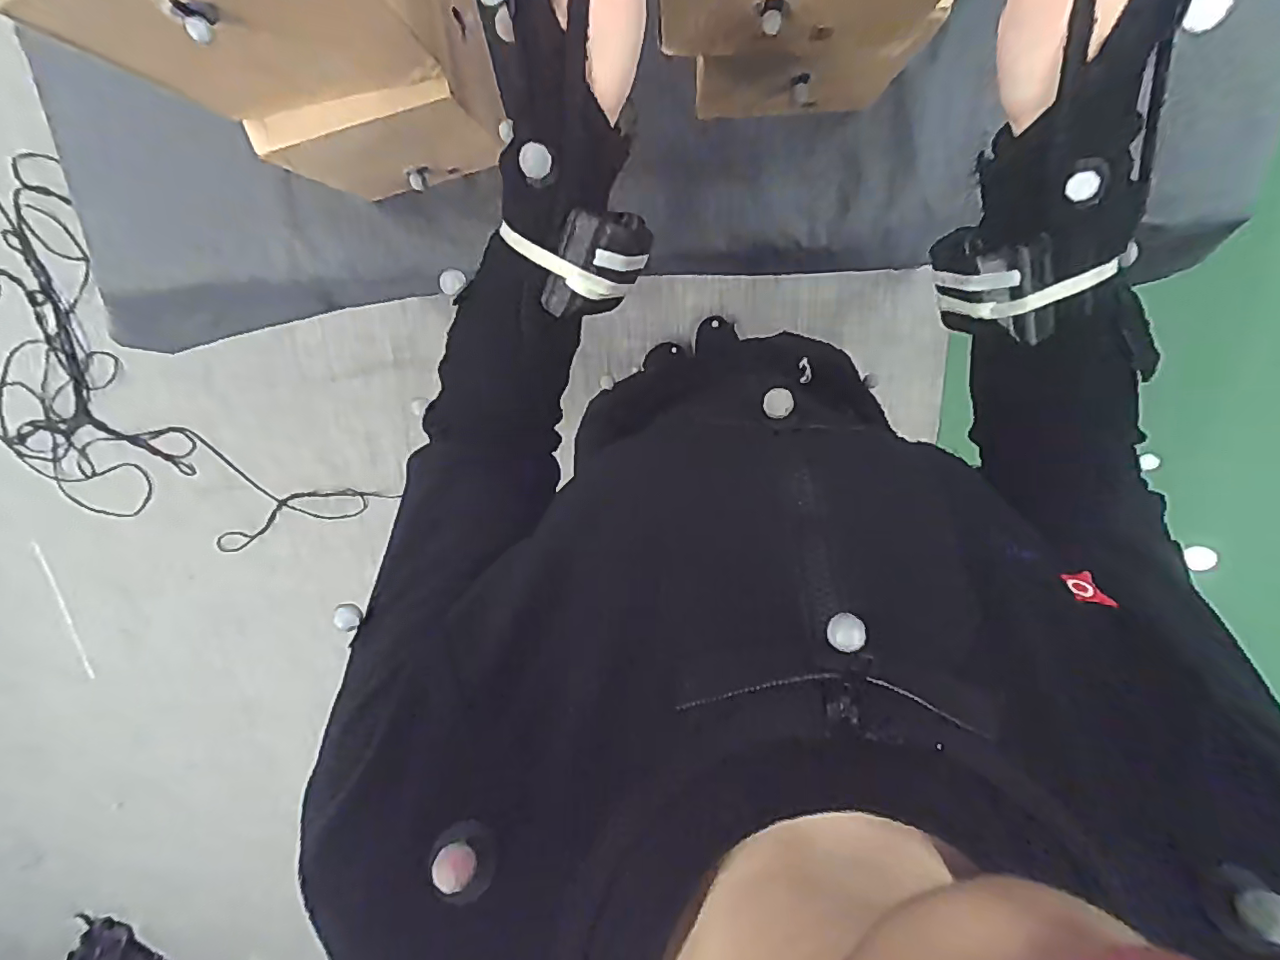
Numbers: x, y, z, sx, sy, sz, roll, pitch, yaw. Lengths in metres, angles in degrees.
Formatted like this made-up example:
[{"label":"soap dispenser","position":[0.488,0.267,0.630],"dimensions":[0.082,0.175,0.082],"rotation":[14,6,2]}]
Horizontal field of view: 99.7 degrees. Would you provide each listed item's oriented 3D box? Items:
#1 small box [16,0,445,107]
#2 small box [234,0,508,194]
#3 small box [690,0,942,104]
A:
[{"label":"small box","position":[-0.237,-0.335,0.296],"dimensions":[0.179,0.176,0.168],"rotation":[-7,107,5]},{"label":"small box","position":[-0.230,-0.370,0.455],"dimensions":[0.168,0.176,0.179],"rotation":[-12,106,7]},{"label":"small box","position":[0.125,-0.418,0.420],"dimensions":[0.168,0.176,0.179],"rotation":[-1,107,4]}]
